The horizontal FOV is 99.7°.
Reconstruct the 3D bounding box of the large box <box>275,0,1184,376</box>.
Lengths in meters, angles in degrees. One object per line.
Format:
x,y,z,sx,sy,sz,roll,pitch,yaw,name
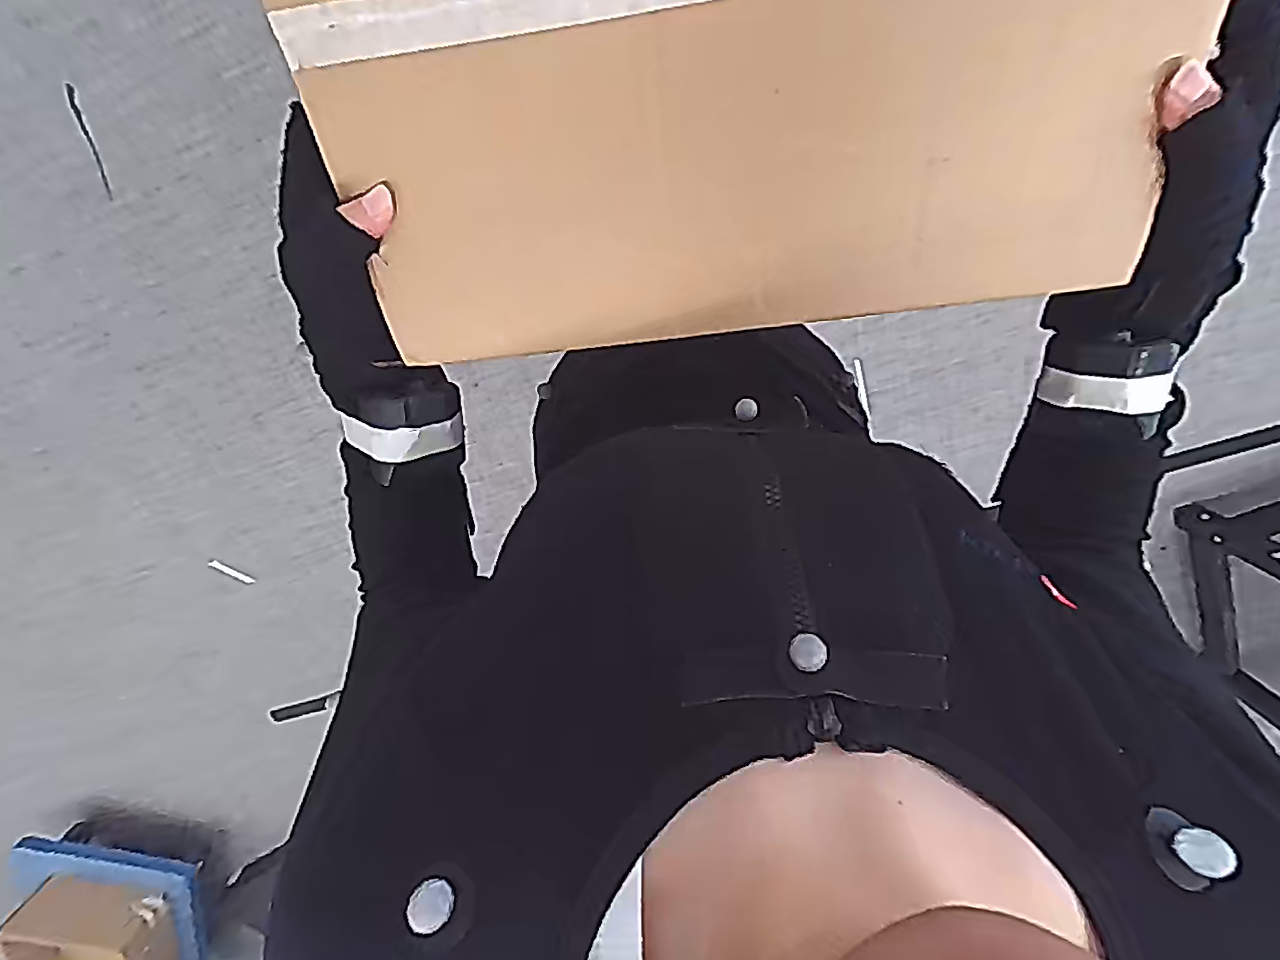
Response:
0.041,-0.294,0.360,0.408,0.320,0.320,-5,123,5,large box
